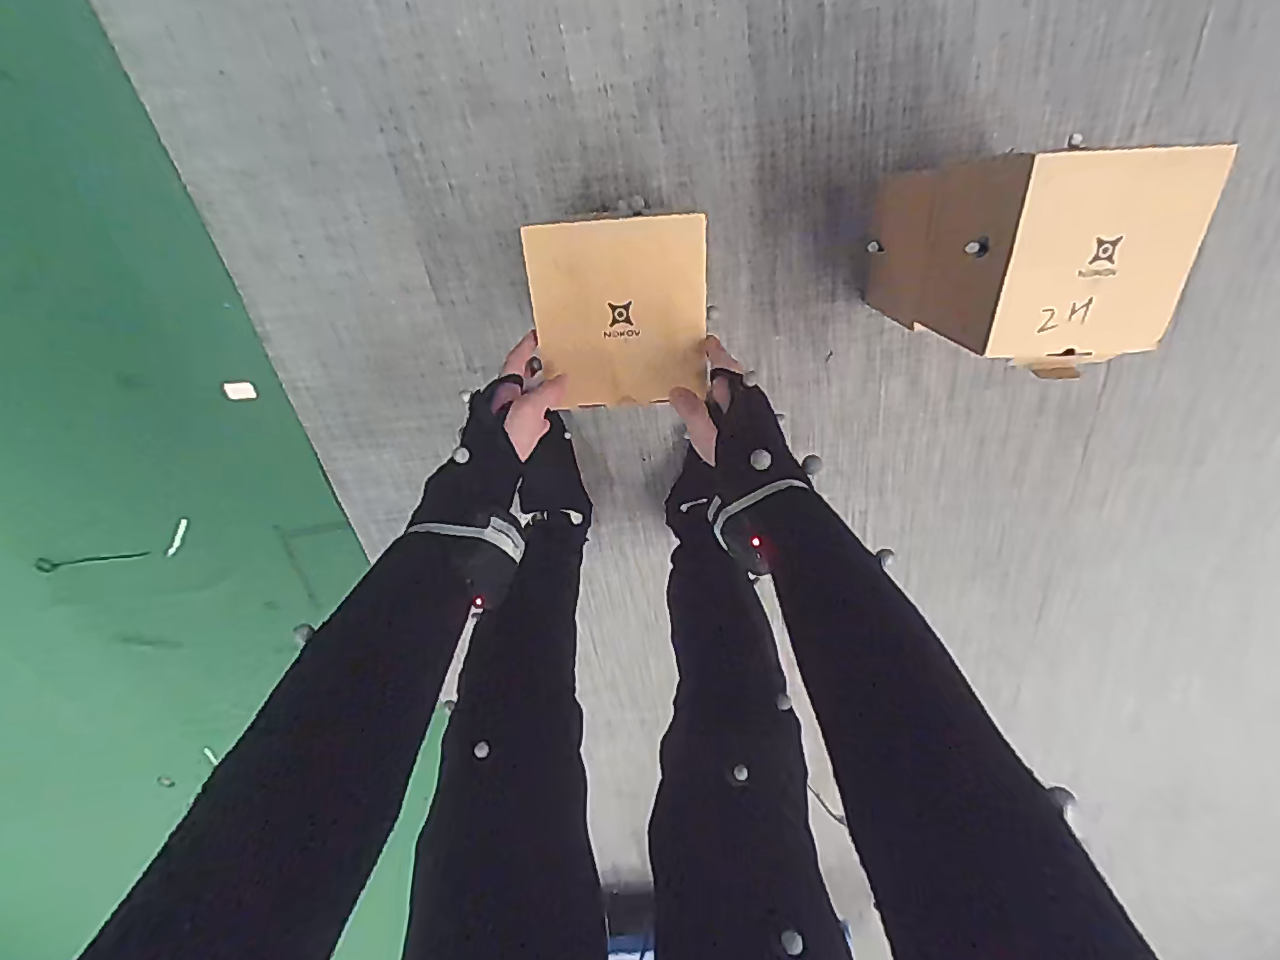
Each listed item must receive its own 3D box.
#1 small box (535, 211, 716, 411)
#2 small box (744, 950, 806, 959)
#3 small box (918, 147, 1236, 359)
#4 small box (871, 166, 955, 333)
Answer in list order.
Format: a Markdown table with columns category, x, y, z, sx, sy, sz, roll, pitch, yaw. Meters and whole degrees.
| category | x | y | z | sx | sy | sz | roll | pitch | yaw |
| --- | --- | --- | --- | --- | --- | --- | --- | --- | --- |
| small box | -0.011 | -0.191 | 0.588 | 0.168 | 0.176 | 0.179 | -4 | 120 | 1 |
| small box | 0.390 | 1.443 | 1.504 | 0.179 | 0.176 | 0.168 | -5 | 119 | 3 |
| small box | 0.416 | -0.235 | 0.558 | 0.168 | 0.176 | 0.179 | -1 | 120 | 2 |
| small box | 0.418 | -0.308 | 0.707 | 0.168 | 0.176 | 0.179 | -6 | 120 | 3 |
